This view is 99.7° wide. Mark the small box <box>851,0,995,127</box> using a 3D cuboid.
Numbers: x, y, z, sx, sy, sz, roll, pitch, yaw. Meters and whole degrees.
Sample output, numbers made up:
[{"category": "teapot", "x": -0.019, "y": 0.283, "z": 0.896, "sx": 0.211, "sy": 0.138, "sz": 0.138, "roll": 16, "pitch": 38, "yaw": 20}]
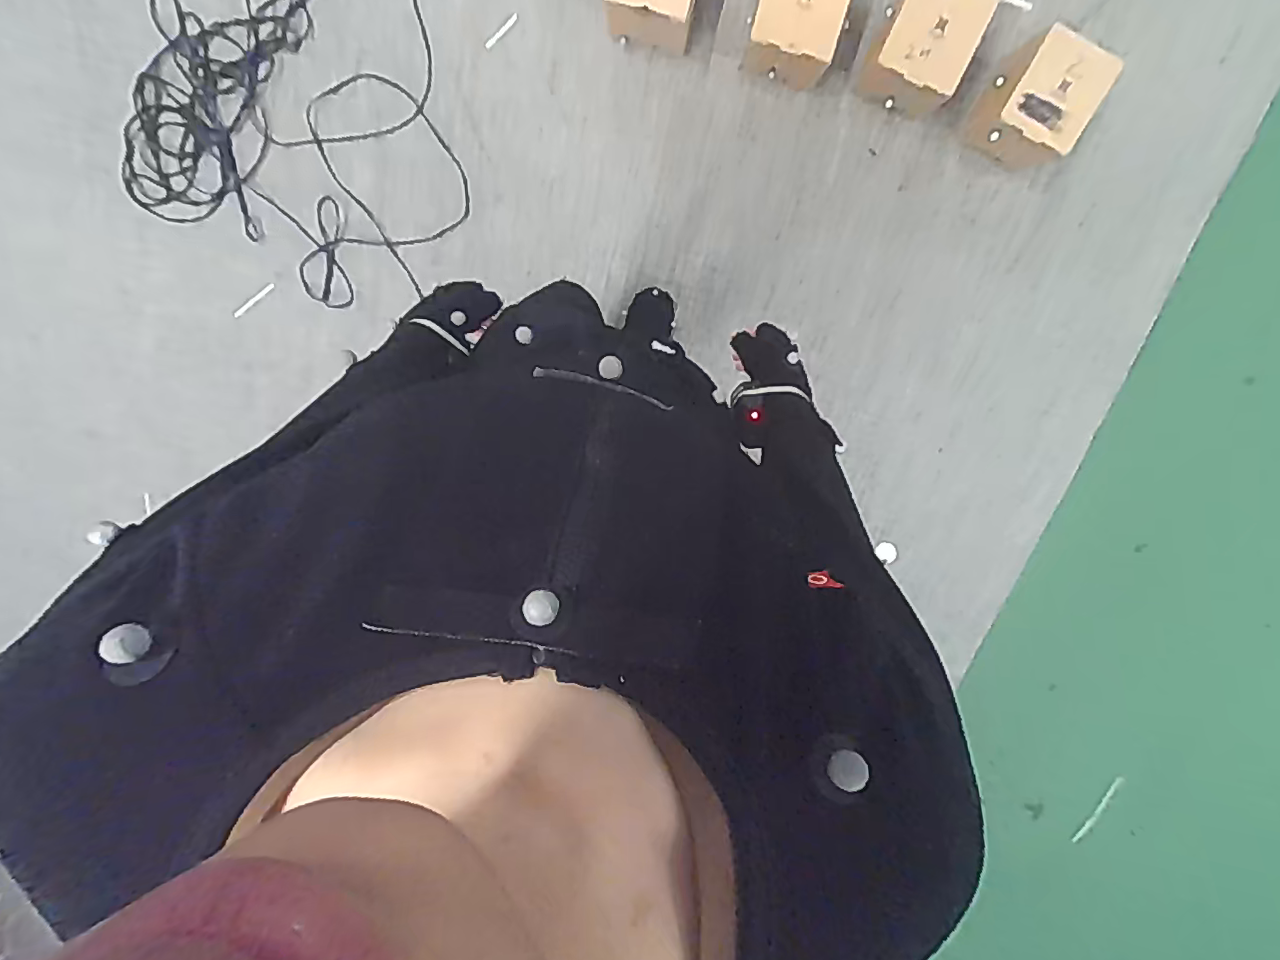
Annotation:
[{"category": "small box", "x": 0.561, "y": -0.867, "z": 1.104, "sx": 0.168, "sy": 0.176, "sz": 0.179, "roll": 22, "pitch": 109, "yaw": -4}]

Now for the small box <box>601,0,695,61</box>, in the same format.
[{"category": "small box", "x": 0.027, "y": -0.987, "z": 1.084, "sx": 0.168, "sy": 0.176, "sz": 0.179, "roll": 13, "pitch": 108, "yaw": -2}]

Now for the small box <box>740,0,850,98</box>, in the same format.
[{"category": "small box", "x": 0.310, "y": -0.921, "z": 1.097, "sx": 0.168, "sy": 0.176, "sz": 0.179, "roll": 14, "pitch": 109, "yaw": -2}]
